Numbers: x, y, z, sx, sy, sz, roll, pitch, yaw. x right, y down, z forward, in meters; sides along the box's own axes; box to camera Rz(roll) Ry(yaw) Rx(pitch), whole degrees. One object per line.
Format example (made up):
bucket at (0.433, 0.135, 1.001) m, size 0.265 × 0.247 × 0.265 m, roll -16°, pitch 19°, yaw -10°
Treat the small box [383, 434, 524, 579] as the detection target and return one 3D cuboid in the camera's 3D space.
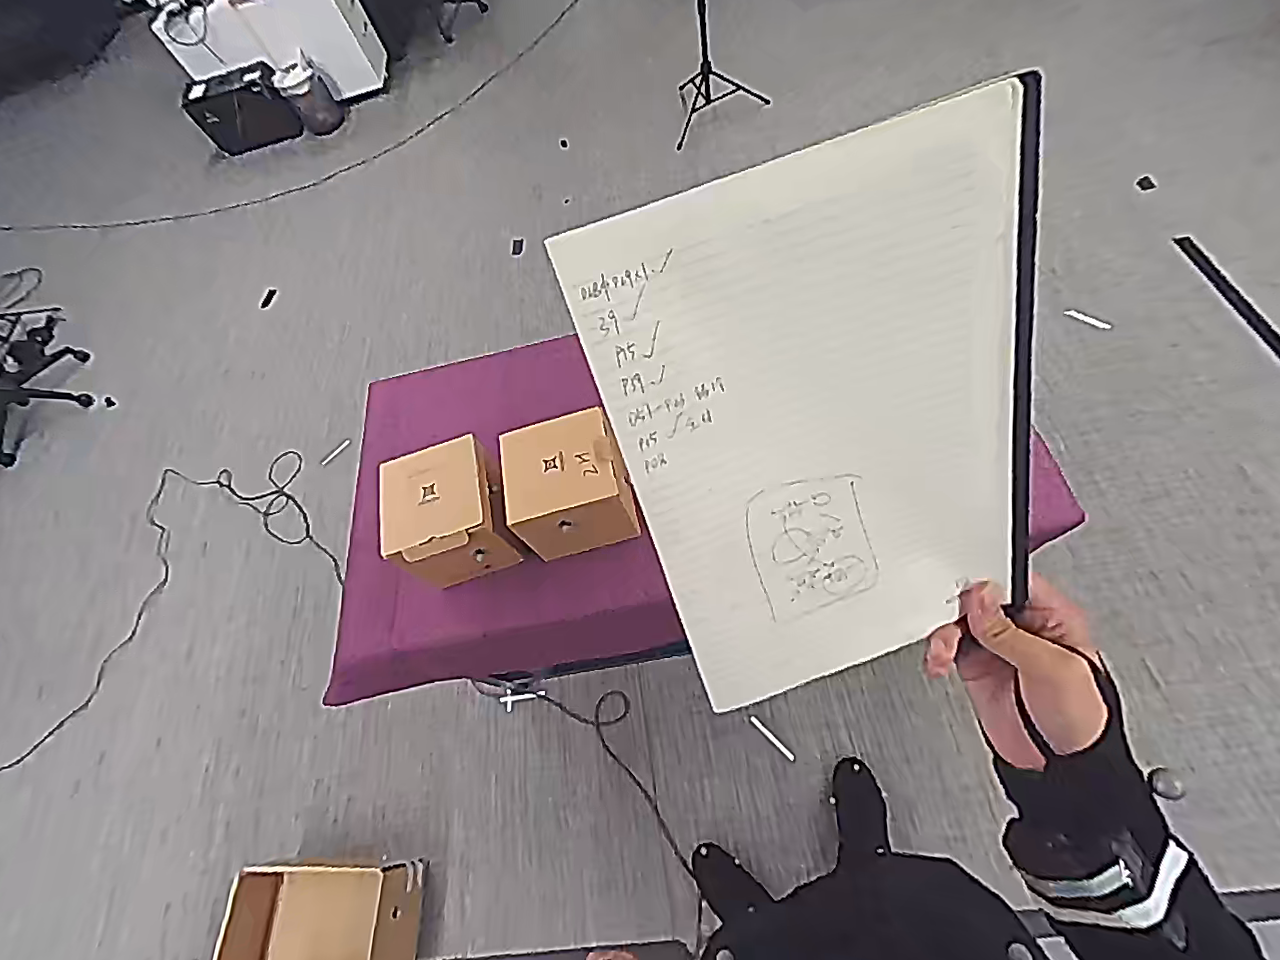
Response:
small box at (-0.311, 0.056, 0.919) m, size 0.168 × 0.176 × 0.179 m, roll -18°, pitch 61°, yaw 2°
